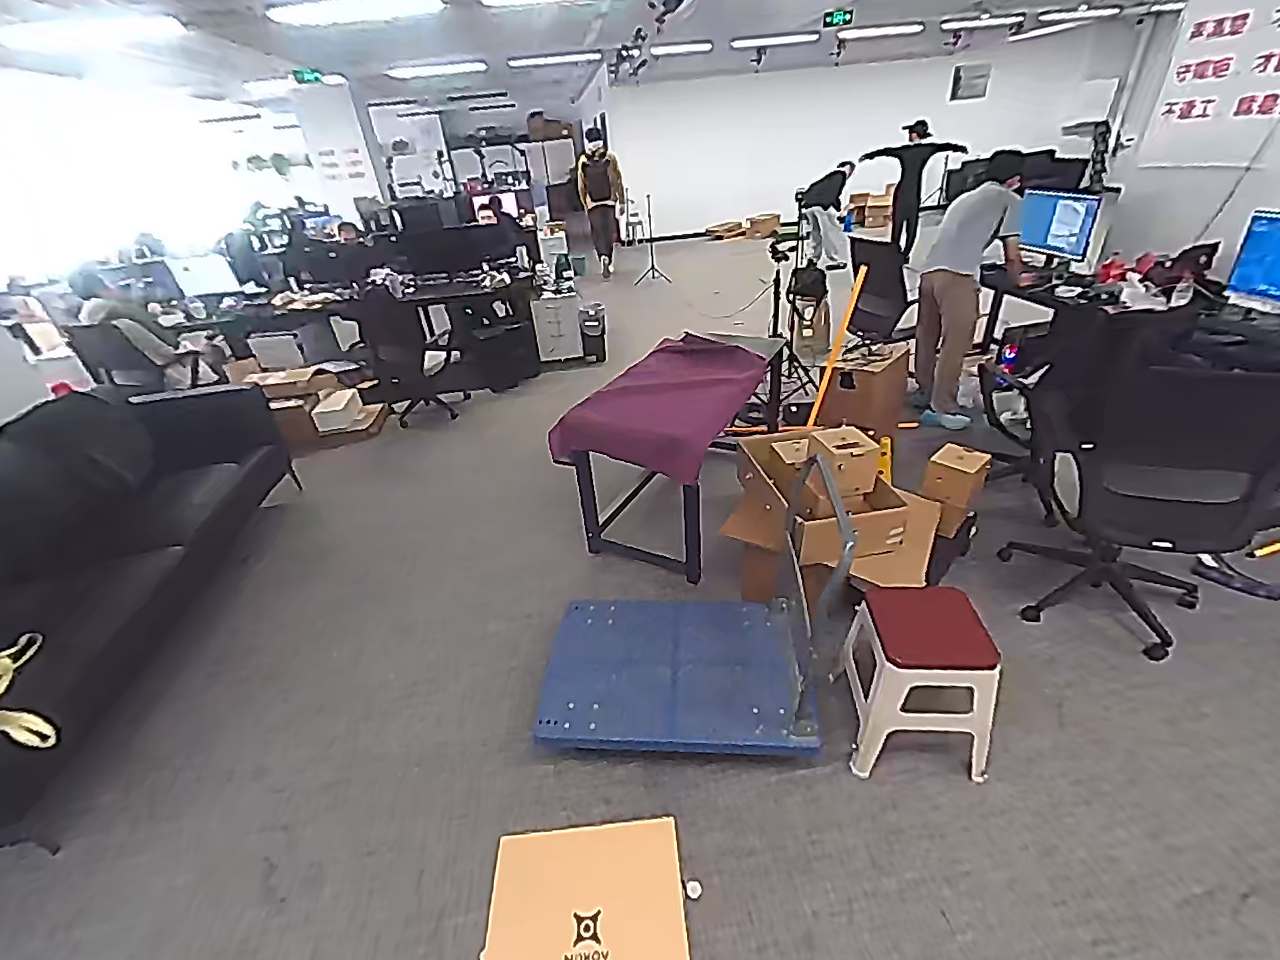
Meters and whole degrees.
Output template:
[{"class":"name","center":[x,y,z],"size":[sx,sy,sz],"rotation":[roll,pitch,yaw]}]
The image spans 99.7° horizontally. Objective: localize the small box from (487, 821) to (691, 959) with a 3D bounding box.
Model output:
[{"class":"small box","center":[-0.037,0.445,0.486],"size":[0.168,0.176,0.179],"rotation":[-6,33,0]}]
